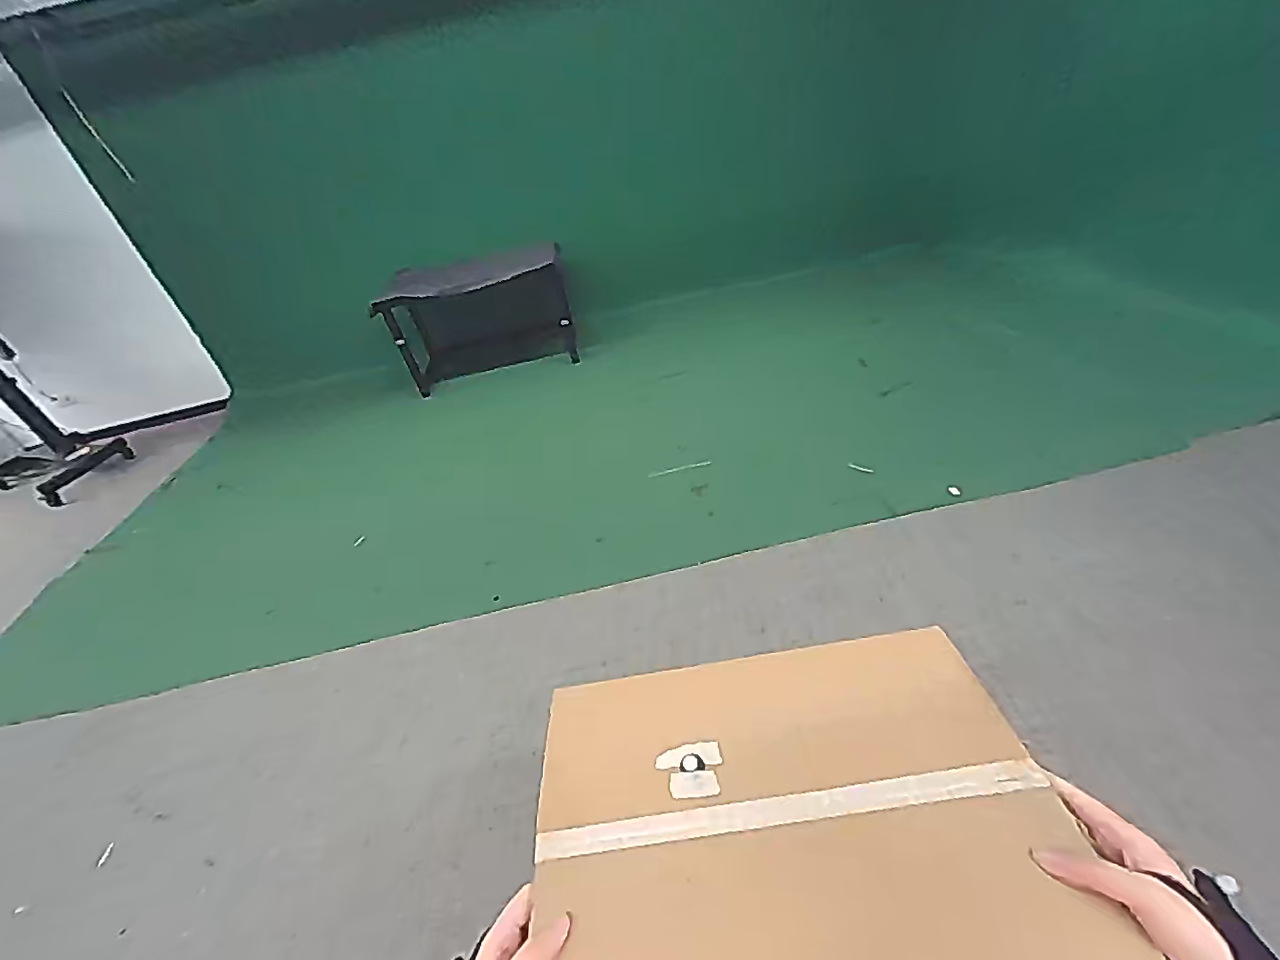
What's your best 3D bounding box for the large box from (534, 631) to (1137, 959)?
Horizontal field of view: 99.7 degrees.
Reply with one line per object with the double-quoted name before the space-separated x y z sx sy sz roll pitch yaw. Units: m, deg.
"large box" 0.146 0.400 0.524 0.408 0.320 0.320 -12 32 5
